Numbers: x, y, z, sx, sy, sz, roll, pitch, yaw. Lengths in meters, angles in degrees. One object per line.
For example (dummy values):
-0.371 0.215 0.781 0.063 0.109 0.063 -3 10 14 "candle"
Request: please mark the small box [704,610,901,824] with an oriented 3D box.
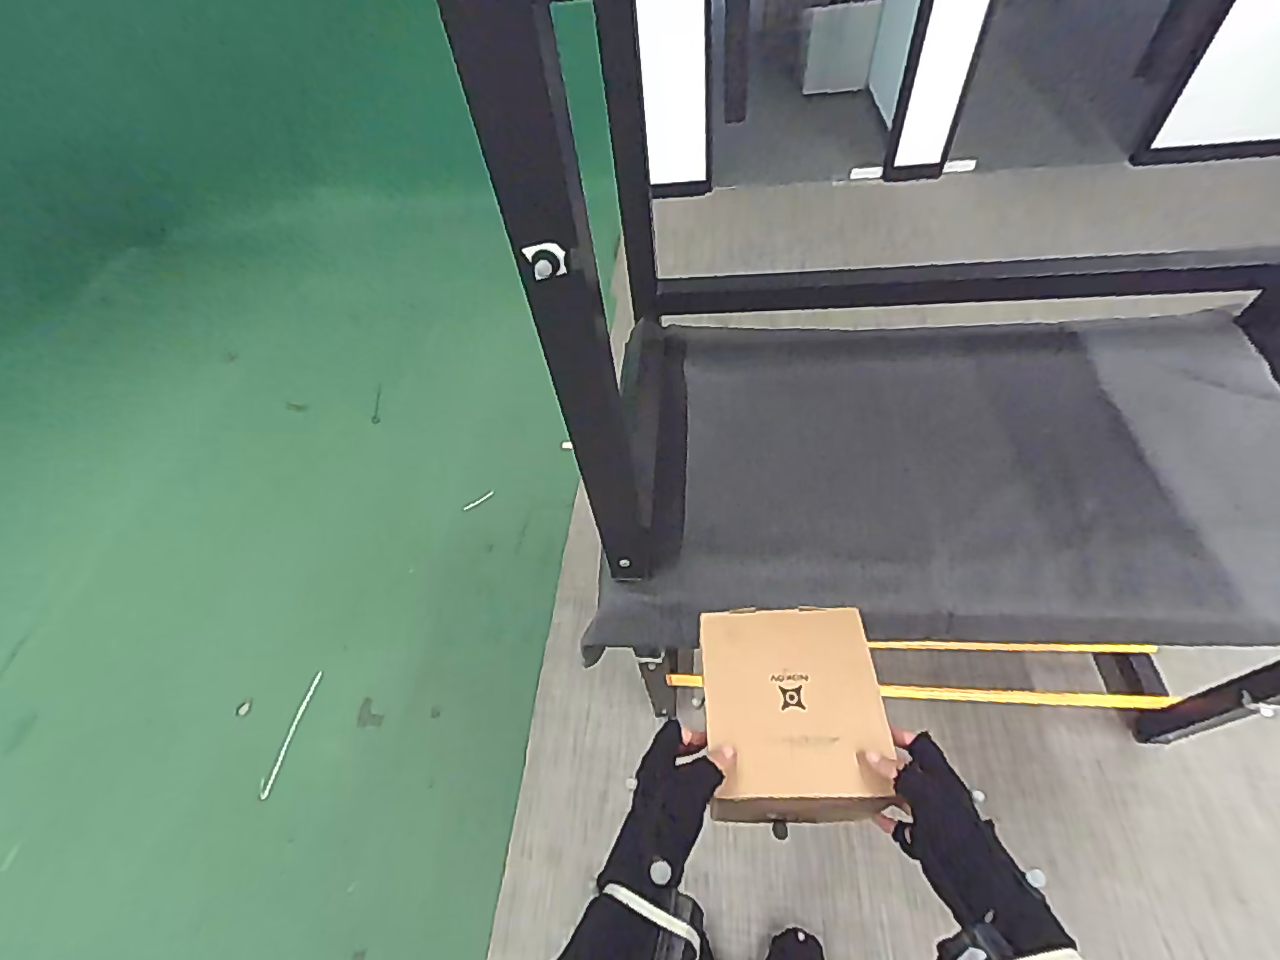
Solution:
0.155 0.259 0.587 0.168 0.176 0.179 -4 52 6 "small box"
